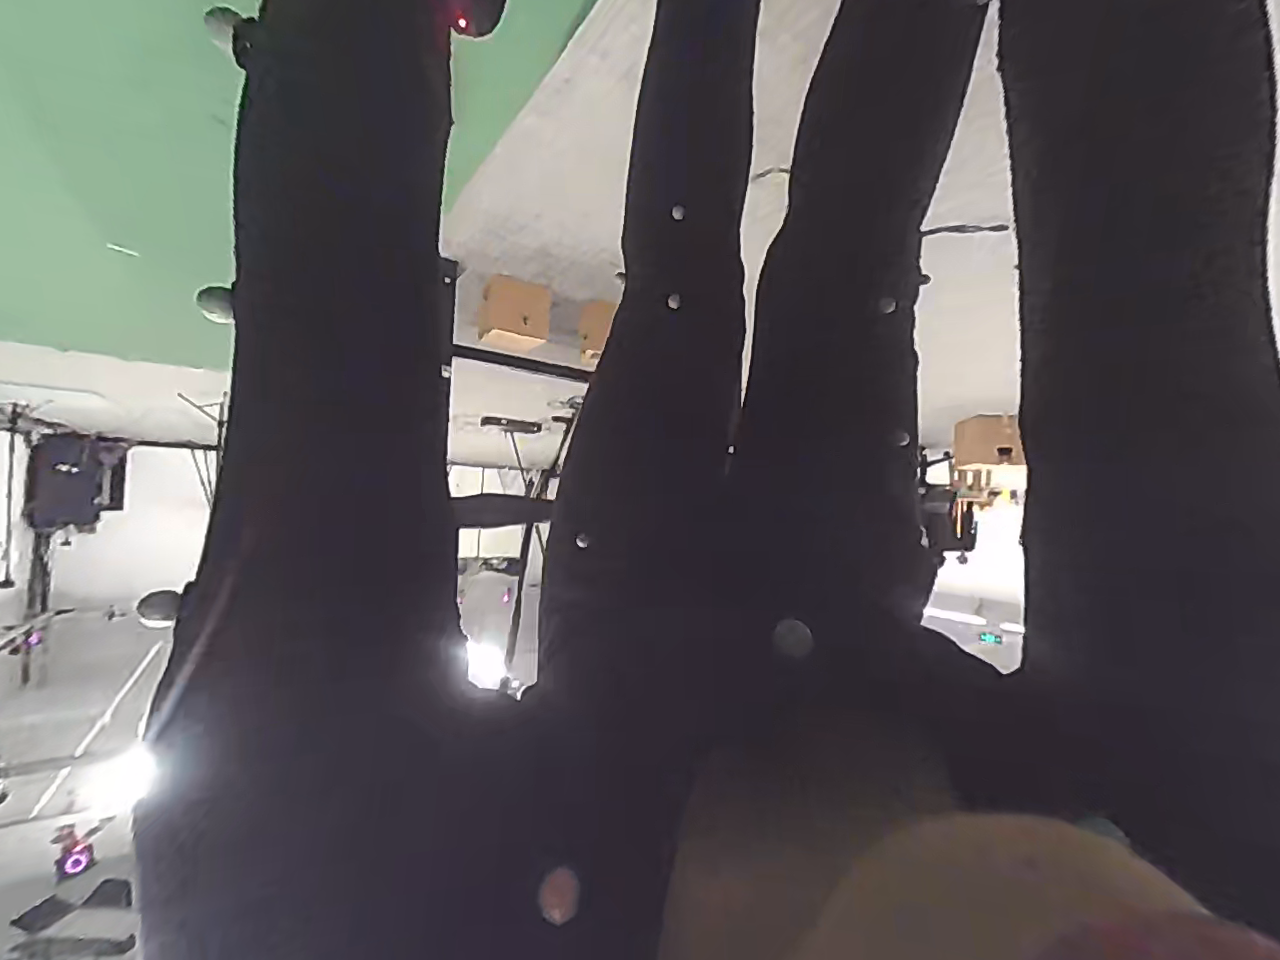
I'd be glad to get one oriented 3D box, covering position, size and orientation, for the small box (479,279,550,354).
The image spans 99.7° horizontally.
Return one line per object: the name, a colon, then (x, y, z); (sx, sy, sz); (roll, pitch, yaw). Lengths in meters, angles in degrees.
small box: (-0.390, -0.509, 1.692); (0.179, 0.176, 0.168); (4, 176, -33)
